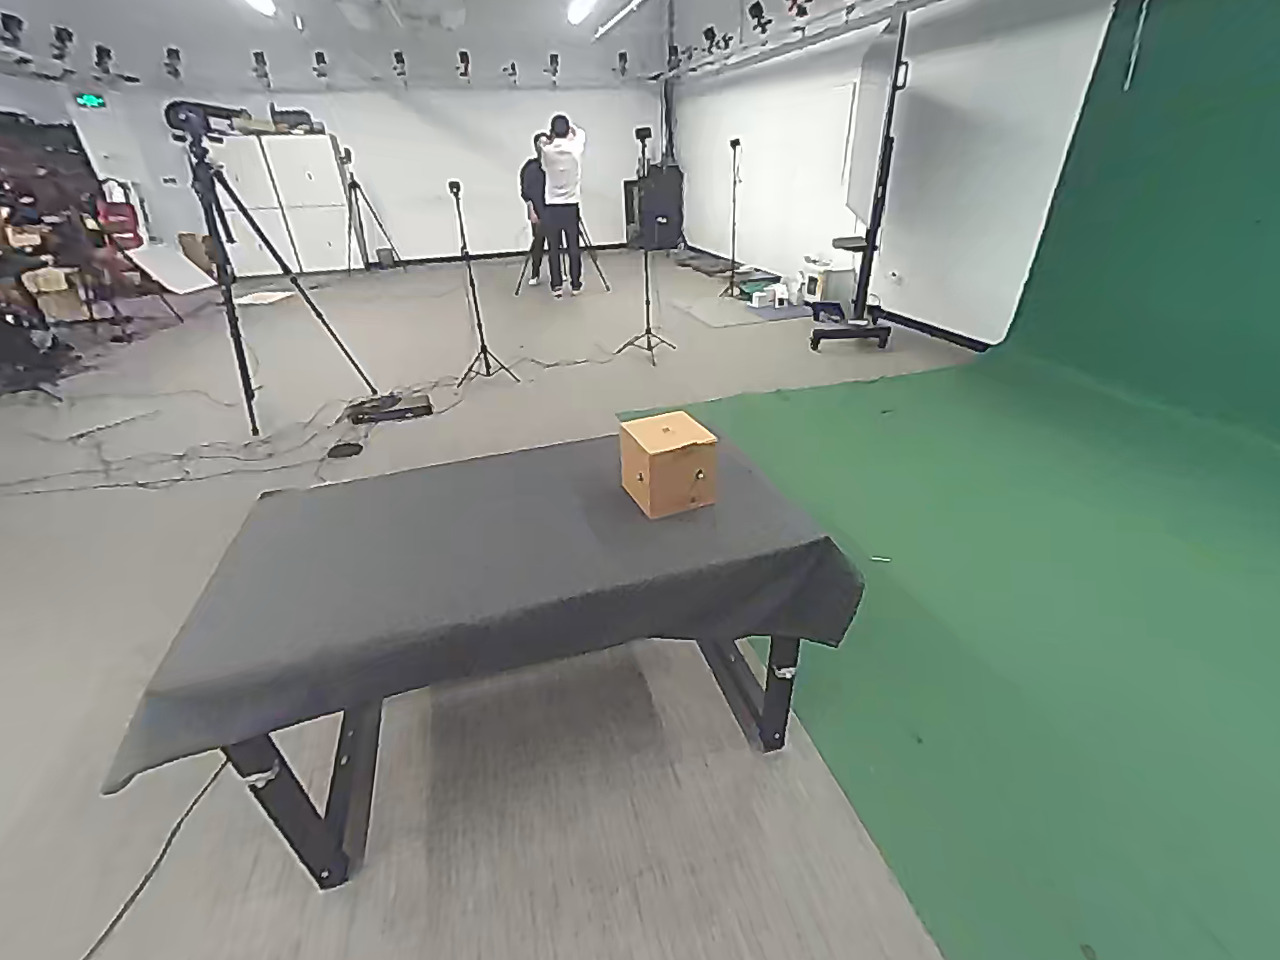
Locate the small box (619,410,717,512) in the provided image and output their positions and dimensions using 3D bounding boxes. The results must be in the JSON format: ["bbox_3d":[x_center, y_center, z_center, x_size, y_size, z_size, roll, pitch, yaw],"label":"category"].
[{"bbox_3d":[0.062,-0.039,1.233,0.168,0.176,0.179,-13,31,-20],"label":"small box"}]
